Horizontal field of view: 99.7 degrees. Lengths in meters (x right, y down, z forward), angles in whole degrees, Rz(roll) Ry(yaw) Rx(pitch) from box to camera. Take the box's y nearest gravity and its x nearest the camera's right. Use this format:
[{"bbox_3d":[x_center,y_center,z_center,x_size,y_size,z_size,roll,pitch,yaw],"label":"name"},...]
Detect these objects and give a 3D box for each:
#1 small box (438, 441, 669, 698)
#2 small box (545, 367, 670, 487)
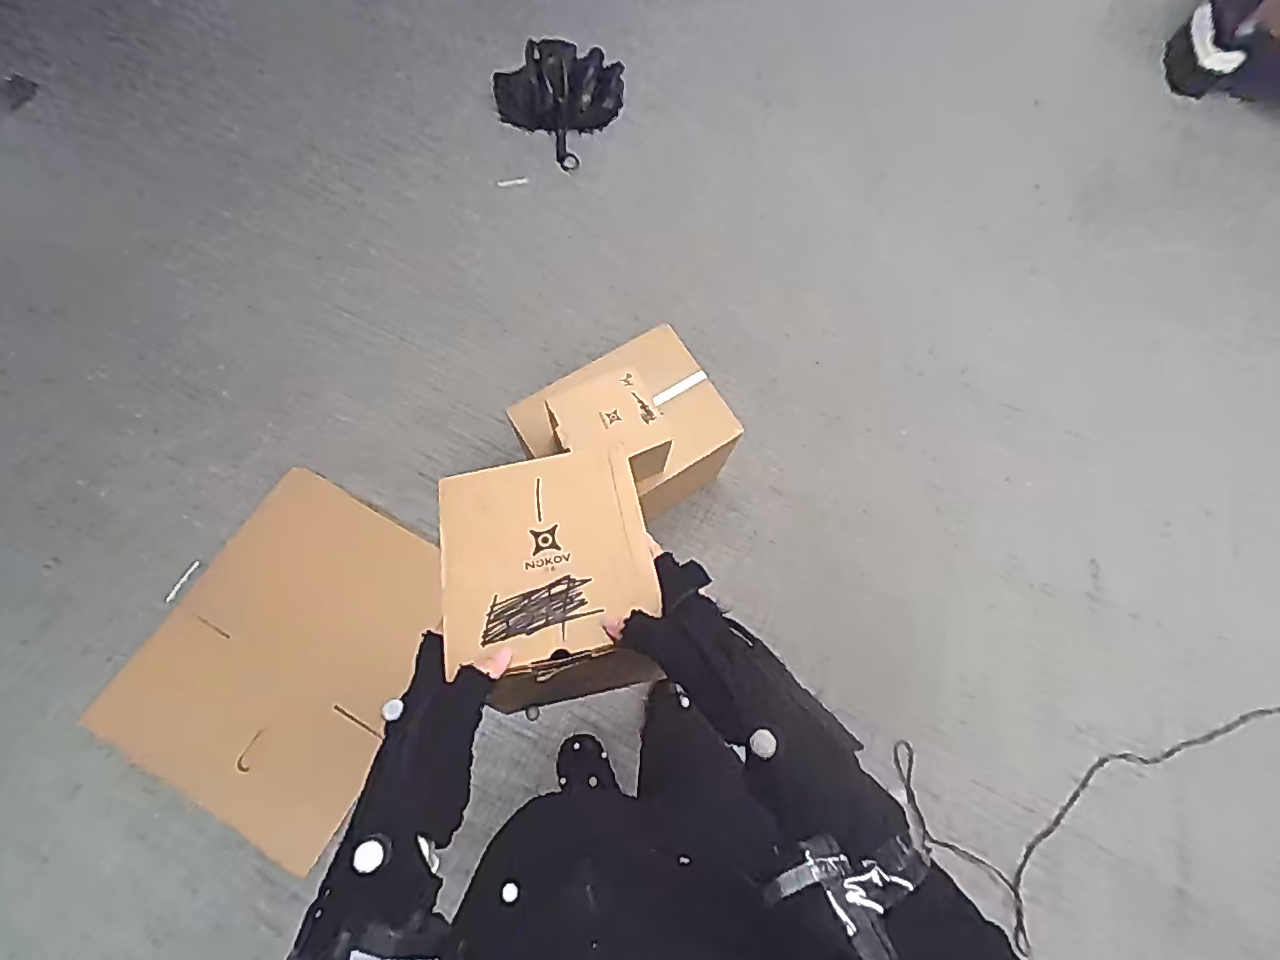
[{"bbox_3d":[-0.072,0.095,0.510,0.168,0.176,0.179,-15,62,-5],"label":"small box"},{"bbox_3d":[-0.059,-0.077,1.031,0.179,0.176,0.168,-27,74,-11],"label":"small box"}]
